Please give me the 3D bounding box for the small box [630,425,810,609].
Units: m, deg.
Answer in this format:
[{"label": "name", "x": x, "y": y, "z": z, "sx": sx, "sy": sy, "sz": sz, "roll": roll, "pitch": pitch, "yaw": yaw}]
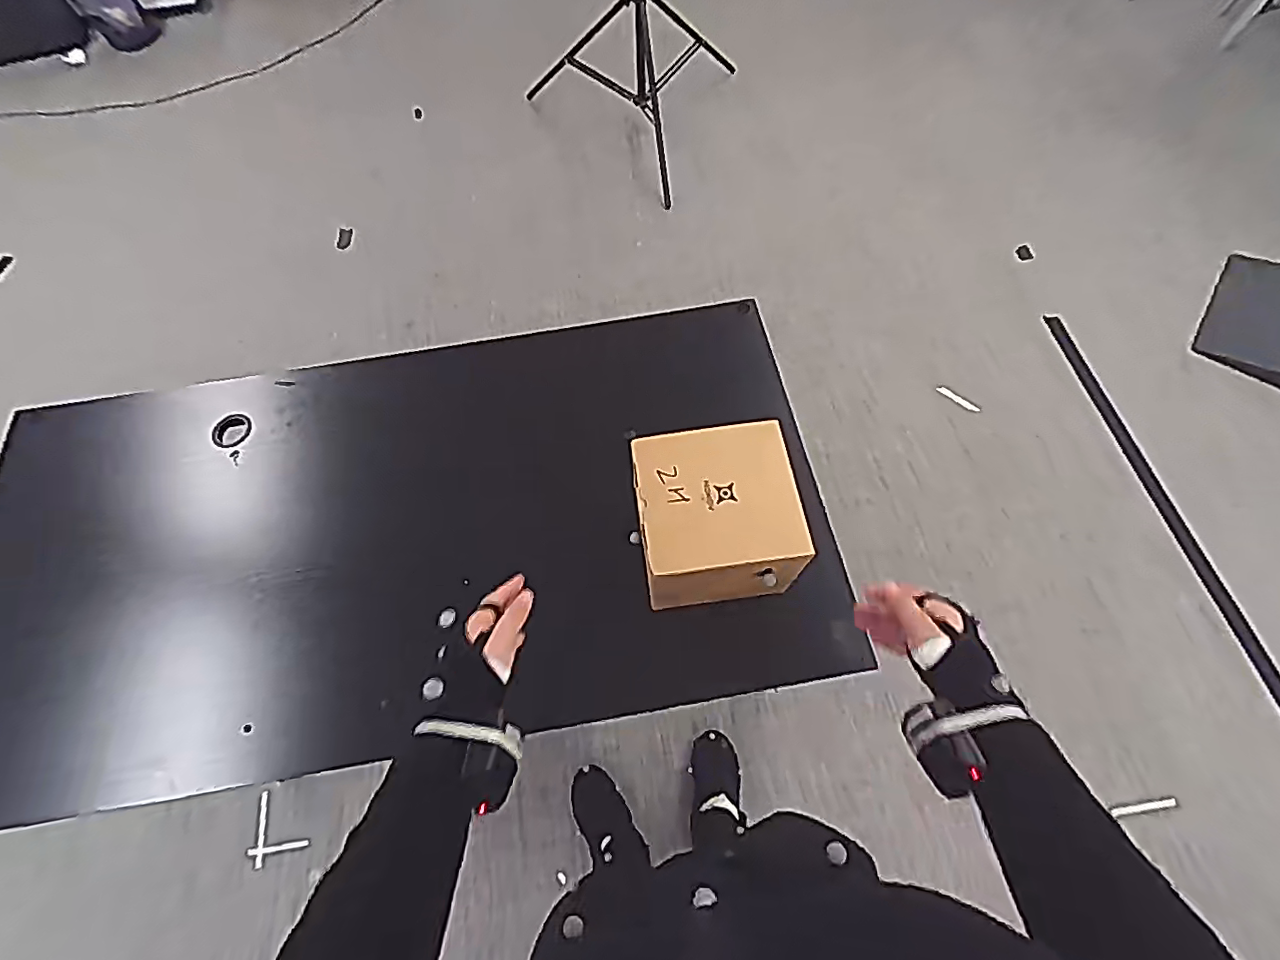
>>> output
[{"label": "small box", "x": 0.085, "y": 0.053, "z": 0.665, "sx": 0.179, "sy": 0.176, "sz": 0.168, "roll": -8, "pitch": 64, "yaw": -1}]
